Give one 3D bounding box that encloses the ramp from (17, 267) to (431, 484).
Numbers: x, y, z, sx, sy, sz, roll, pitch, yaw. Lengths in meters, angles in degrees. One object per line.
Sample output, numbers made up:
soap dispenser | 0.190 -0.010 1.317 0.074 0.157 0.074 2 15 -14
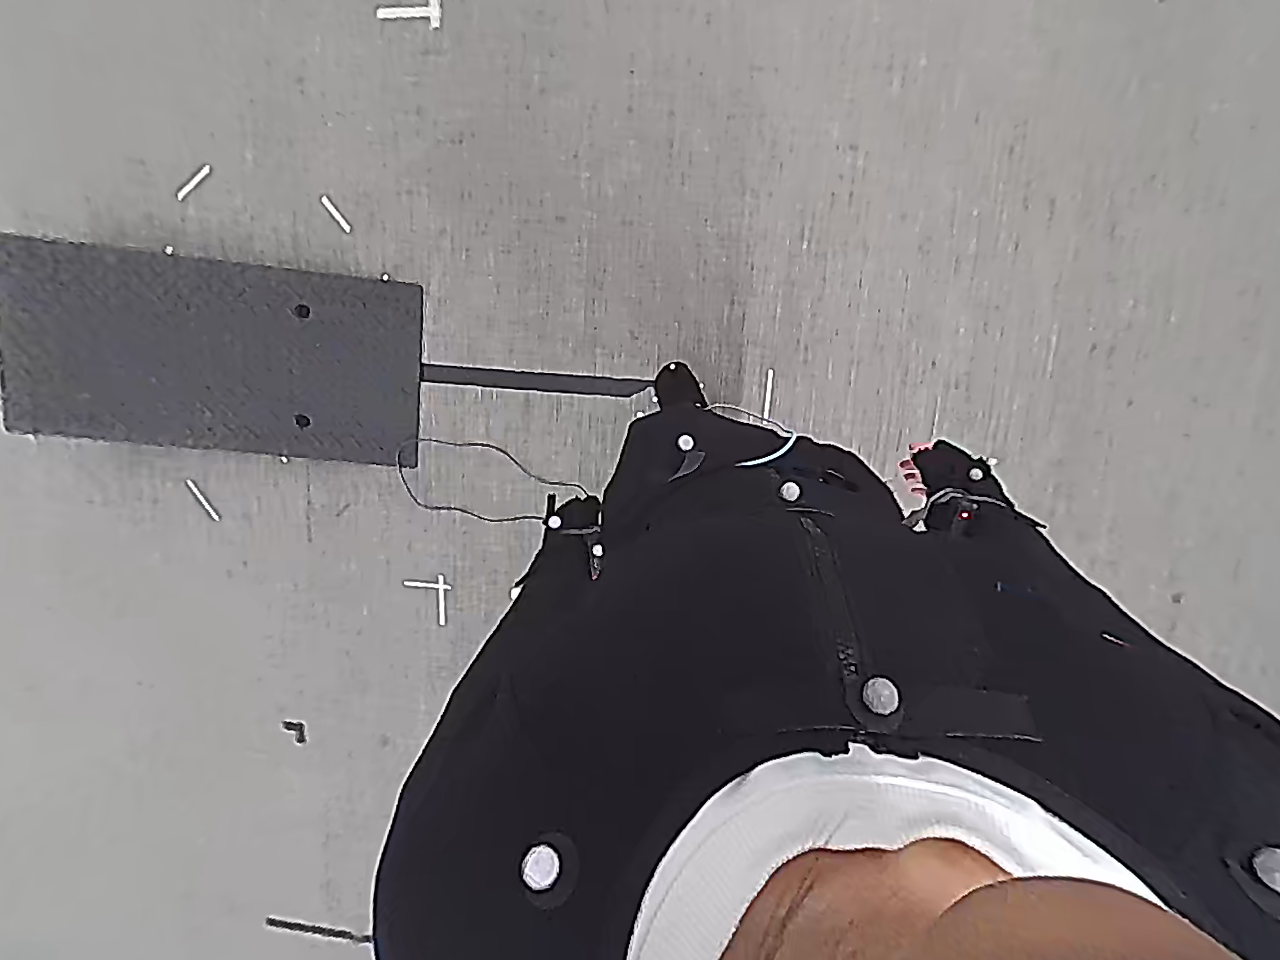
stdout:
ramp | -1.073 -0.262 1.433 0.991 0.206 0.509 4 97 4
